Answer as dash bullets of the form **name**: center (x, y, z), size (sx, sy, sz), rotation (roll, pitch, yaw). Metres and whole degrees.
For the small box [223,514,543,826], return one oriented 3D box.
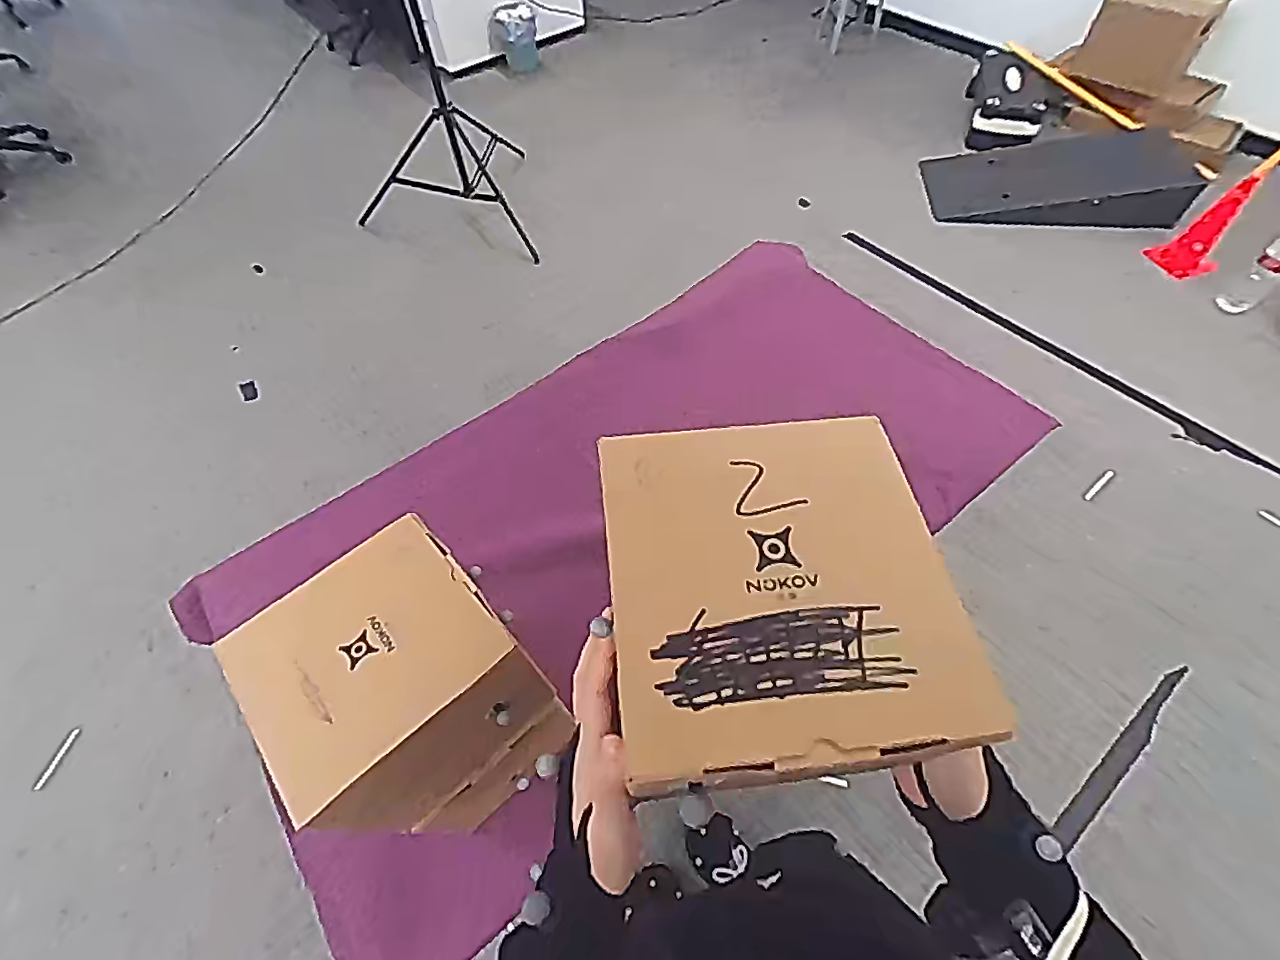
- **small box**: center (-0.204, 0.170, 0.482), size (0.179, 0.176, 0.168), rotation (-40, 62, -20)

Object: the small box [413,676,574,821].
- **small box**: center (-0.197, 0.258, 0.618), size (0.168, 0.176, 0.179), rotation (-38, 64, -19)
